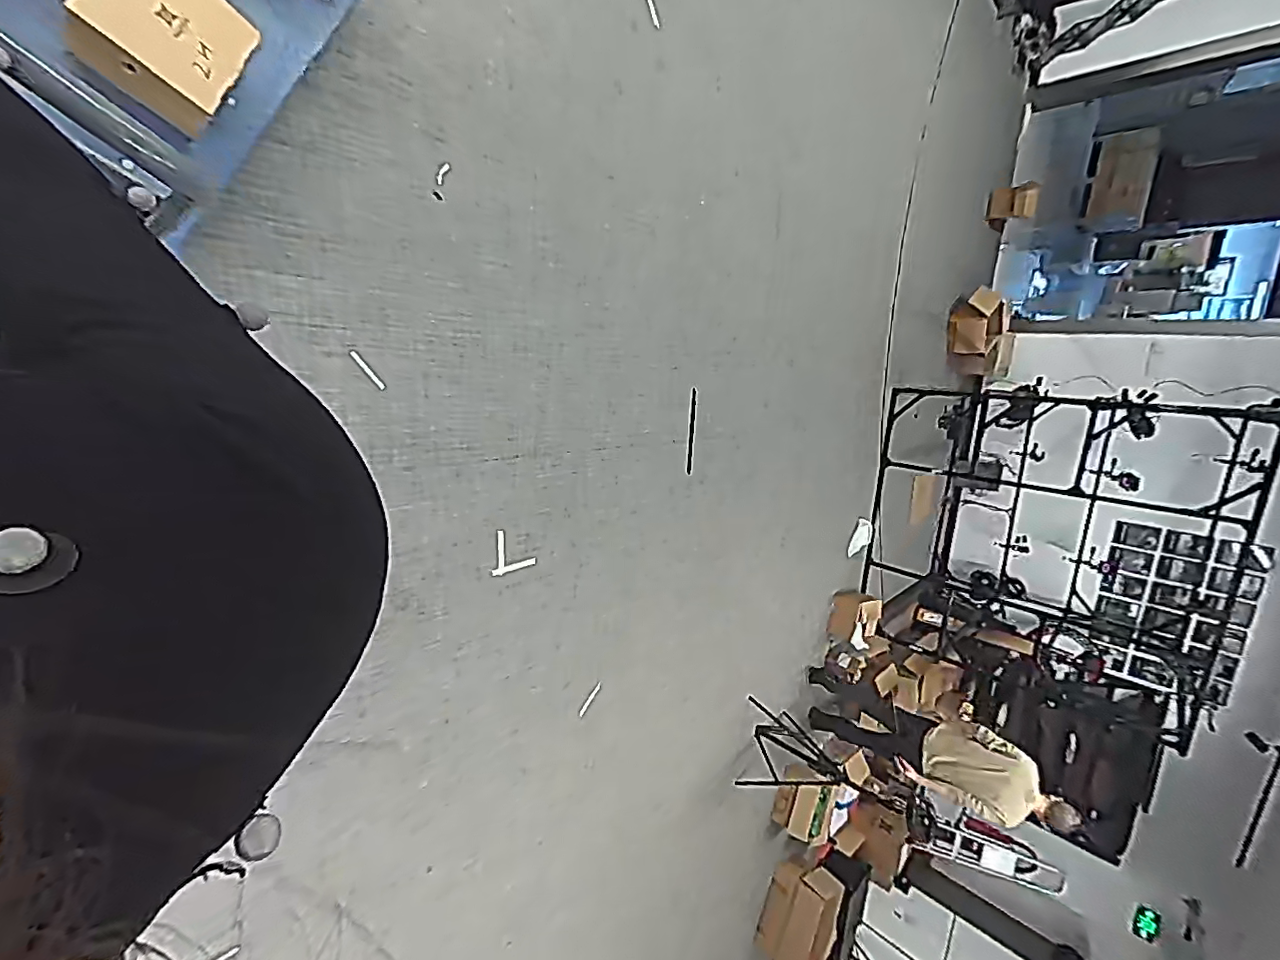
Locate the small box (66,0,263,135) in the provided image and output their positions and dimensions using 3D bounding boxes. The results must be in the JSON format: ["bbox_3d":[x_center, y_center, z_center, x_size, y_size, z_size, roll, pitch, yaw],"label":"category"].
[{"bbox_3d":[-0.750,-0.690,0.854,0.179,0.176,0.168,34,76,-47],"label":"small box"}]
